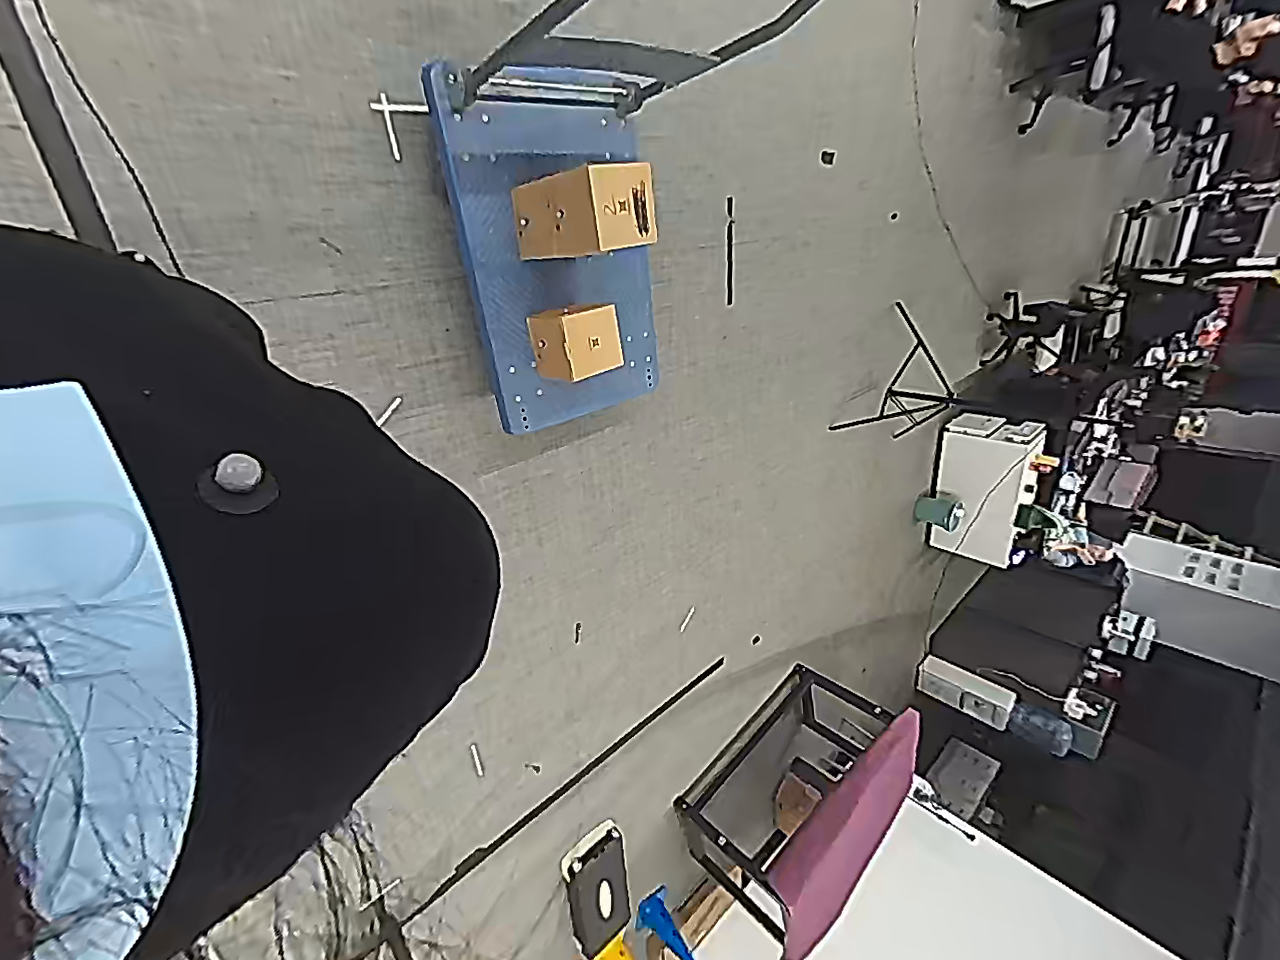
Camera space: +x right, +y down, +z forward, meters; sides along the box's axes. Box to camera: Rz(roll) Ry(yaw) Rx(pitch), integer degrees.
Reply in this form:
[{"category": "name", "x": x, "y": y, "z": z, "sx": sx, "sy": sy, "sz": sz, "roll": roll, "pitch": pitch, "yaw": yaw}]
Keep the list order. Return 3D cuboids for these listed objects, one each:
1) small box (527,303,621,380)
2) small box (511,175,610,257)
[{"category": "small box", "x": -0.178, "y": -0.383, "z": 1.468, "sx": 0.179, "sy": 0.176, "sz": 0.168, "roll": -28, "pitch": 121, "yaw": -34}, {"category": "small box", "x": -0.197, "y": -0.655, "z": 1.355, "sx": 0.179, "sy": 0.176, "sz": 0.168, "roll": -21, "pitch": 117, "yaw": -37}]
